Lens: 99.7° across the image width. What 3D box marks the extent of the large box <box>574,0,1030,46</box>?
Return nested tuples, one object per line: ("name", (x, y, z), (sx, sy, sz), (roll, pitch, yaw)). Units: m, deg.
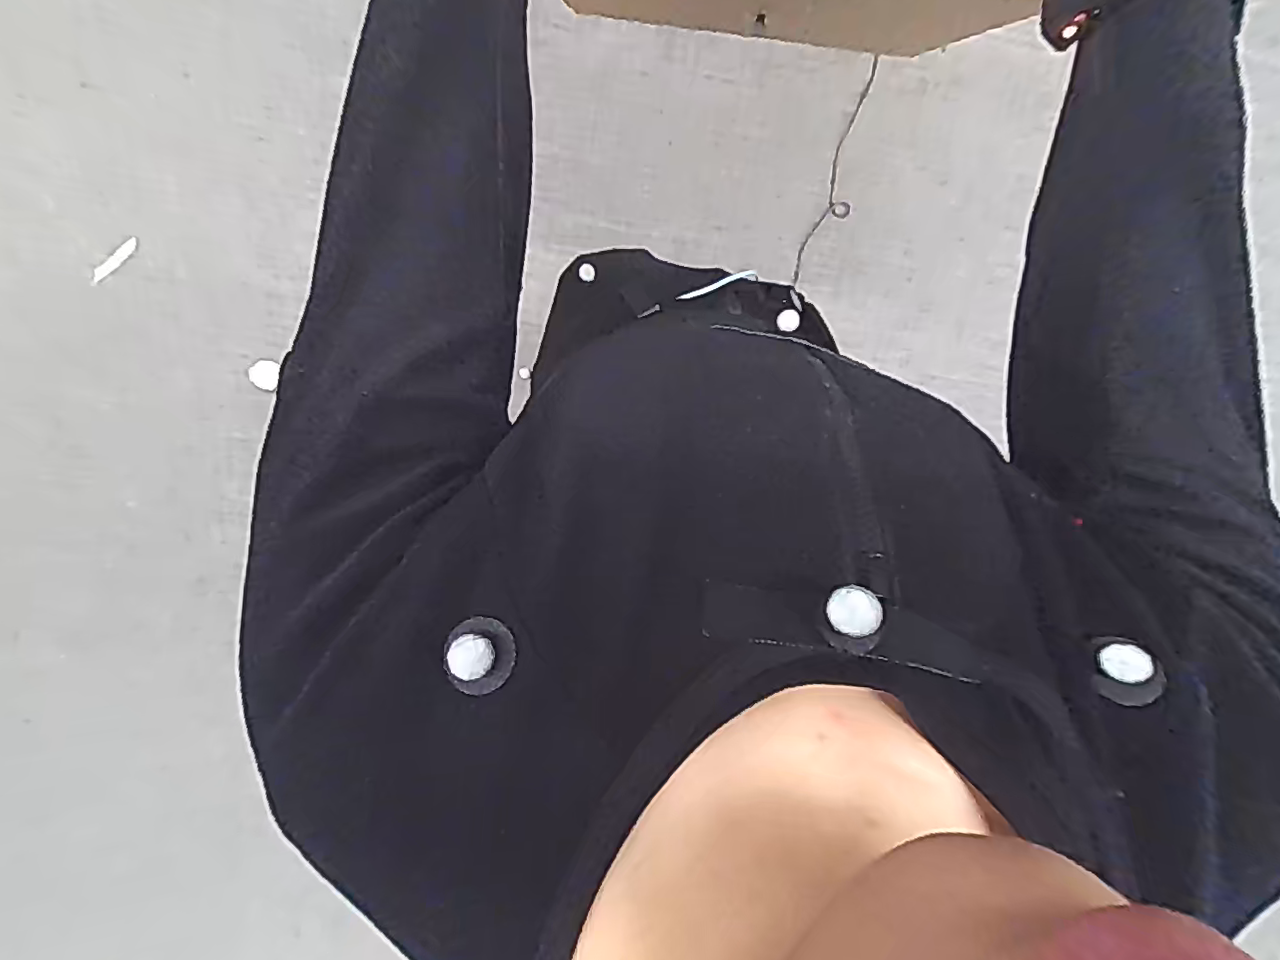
("large box", (0.132, -0.576, 0.432), (0.408, 0.320, 0.320), (7, 122, -1))
